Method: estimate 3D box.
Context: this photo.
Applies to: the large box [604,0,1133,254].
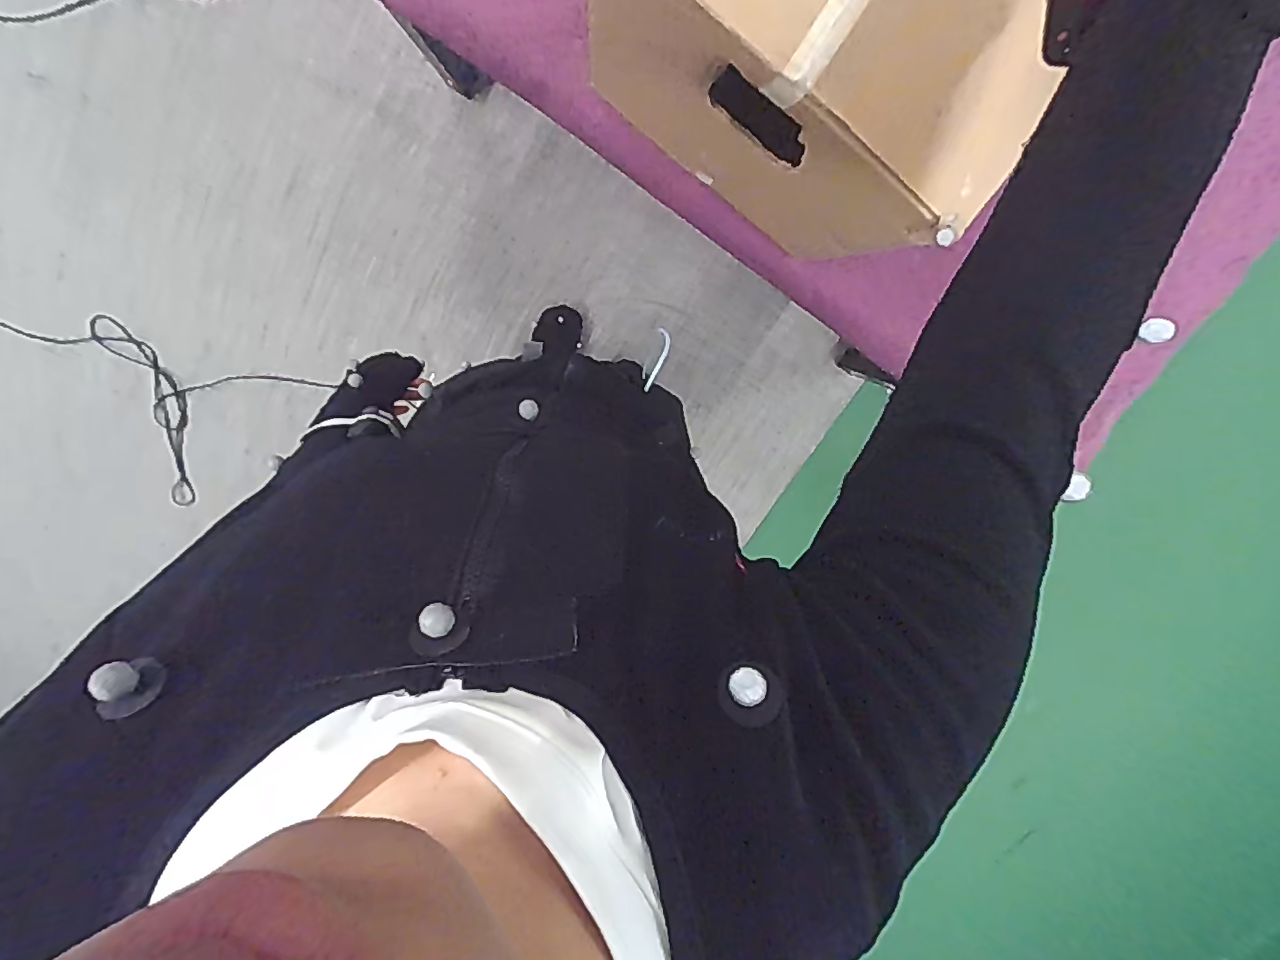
[{"bbox_3d":[0.203,-0.462,0.456,0.320,0.320,0.408,33,105,-14],"label":"large box"}]
